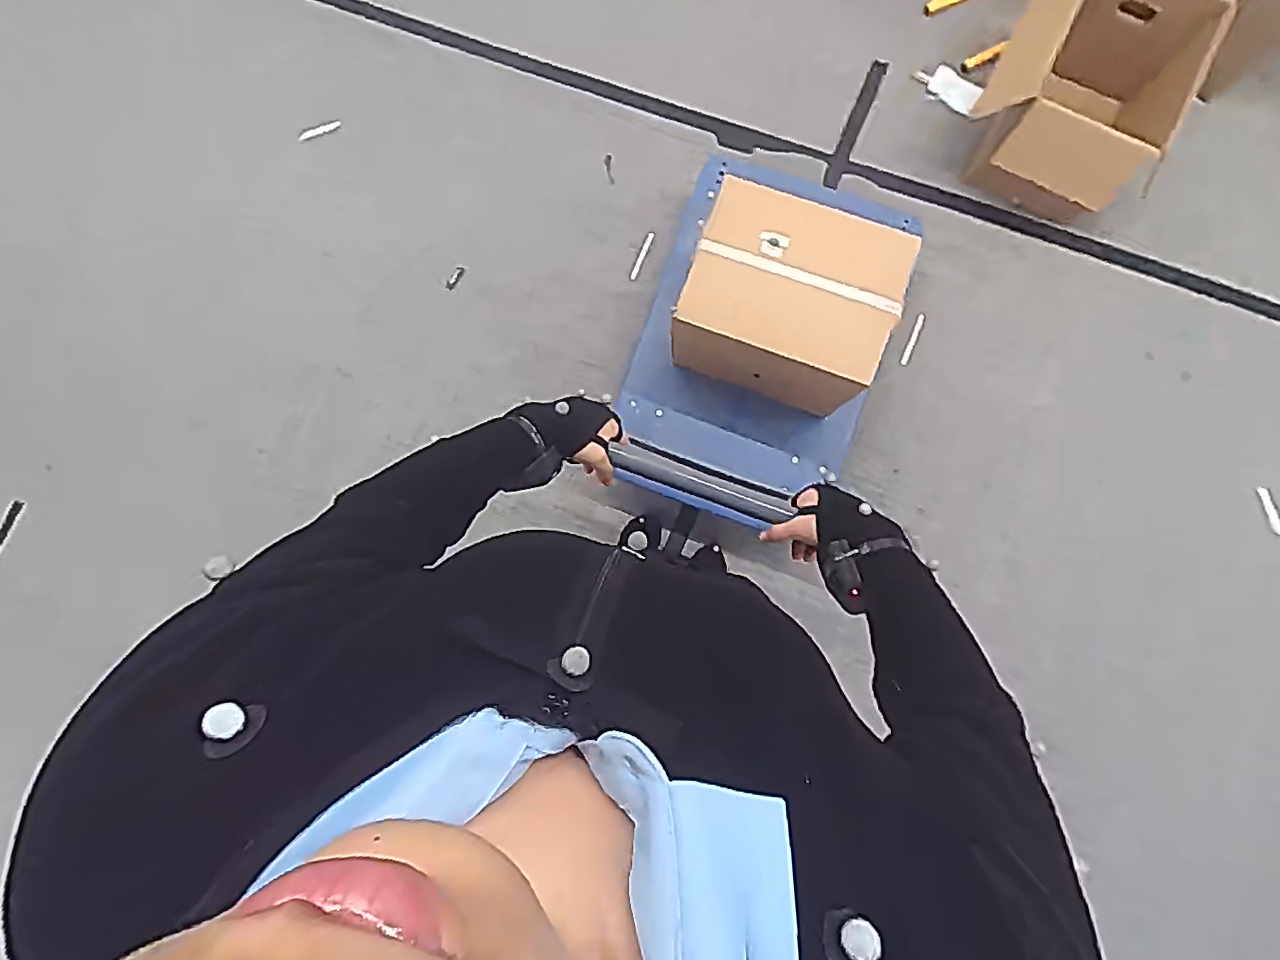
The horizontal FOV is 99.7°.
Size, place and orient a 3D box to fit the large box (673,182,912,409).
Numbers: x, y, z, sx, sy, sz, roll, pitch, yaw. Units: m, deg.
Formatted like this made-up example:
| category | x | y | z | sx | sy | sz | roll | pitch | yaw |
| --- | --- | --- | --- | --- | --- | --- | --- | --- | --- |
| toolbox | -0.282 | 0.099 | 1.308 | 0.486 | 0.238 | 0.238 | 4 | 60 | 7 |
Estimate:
| category | x | y | z | sx | sy | sz | roll | pitch | yaw |
| --- | --- | --- | --- | --- | --- | --- | --- | --- | --- |
| large box | 0.314 | -0.389 | 1.221 | 0.408 | 0.320 | 0.320 | 21 | 86 | 6 |
